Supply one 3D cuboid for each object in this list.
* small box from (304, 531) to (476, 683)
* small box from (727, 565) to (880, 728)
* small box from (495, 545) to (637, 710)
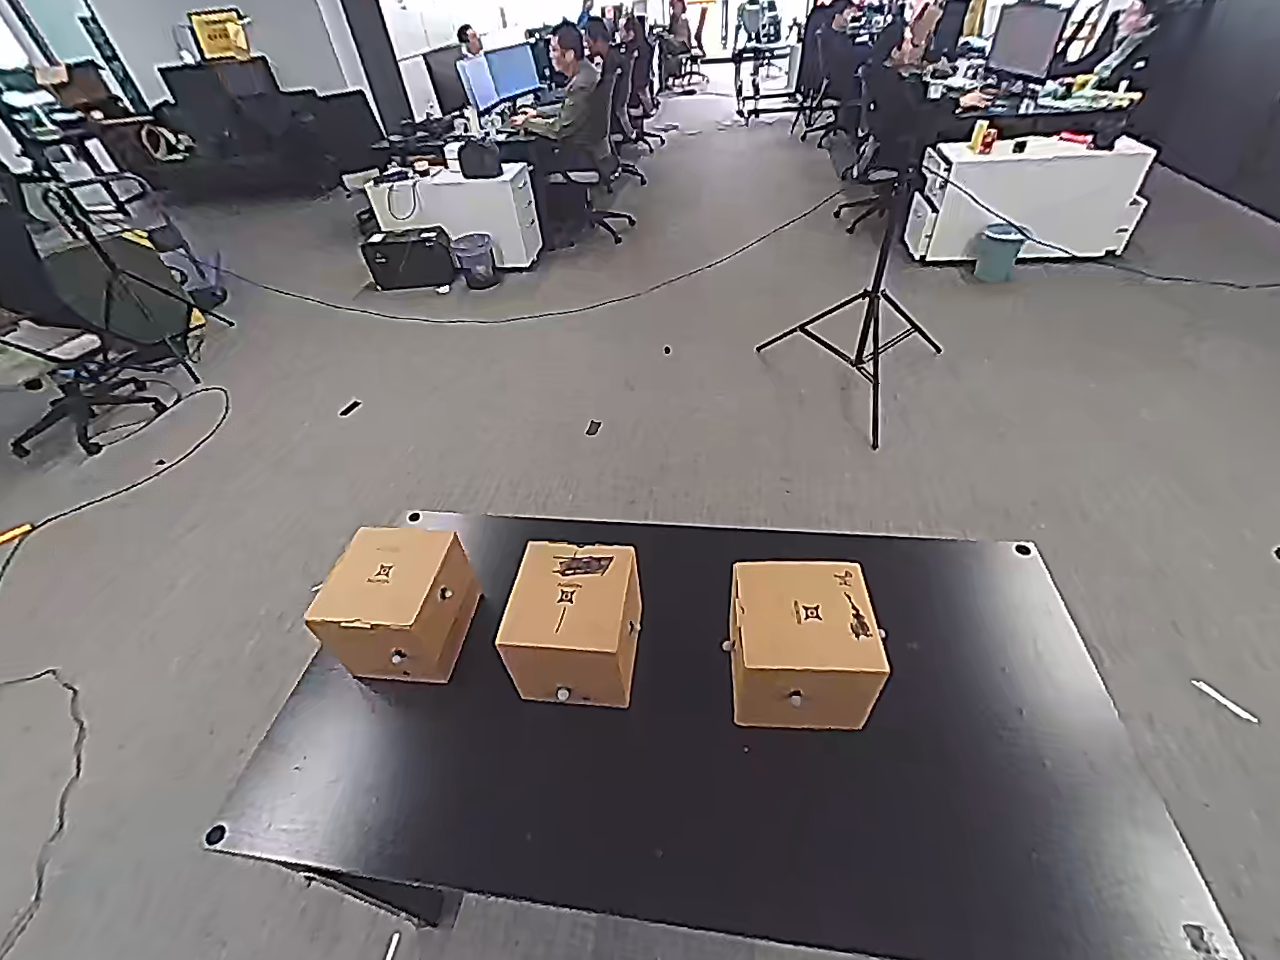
[{"bbox_3d":[-0.380,0.204,0.865,0.168,0.176,0.179,2,43,6],"label":"small box"},{"bbox_3d":[0.216,0.237,0.767,0.179,0.176,0.168,-1,43,6],"label":"small box"},{"bbox_3d":[-0.098,0.220,0.817,0.168,0.176,0.179,2,44,8],"label":"small box"}]
